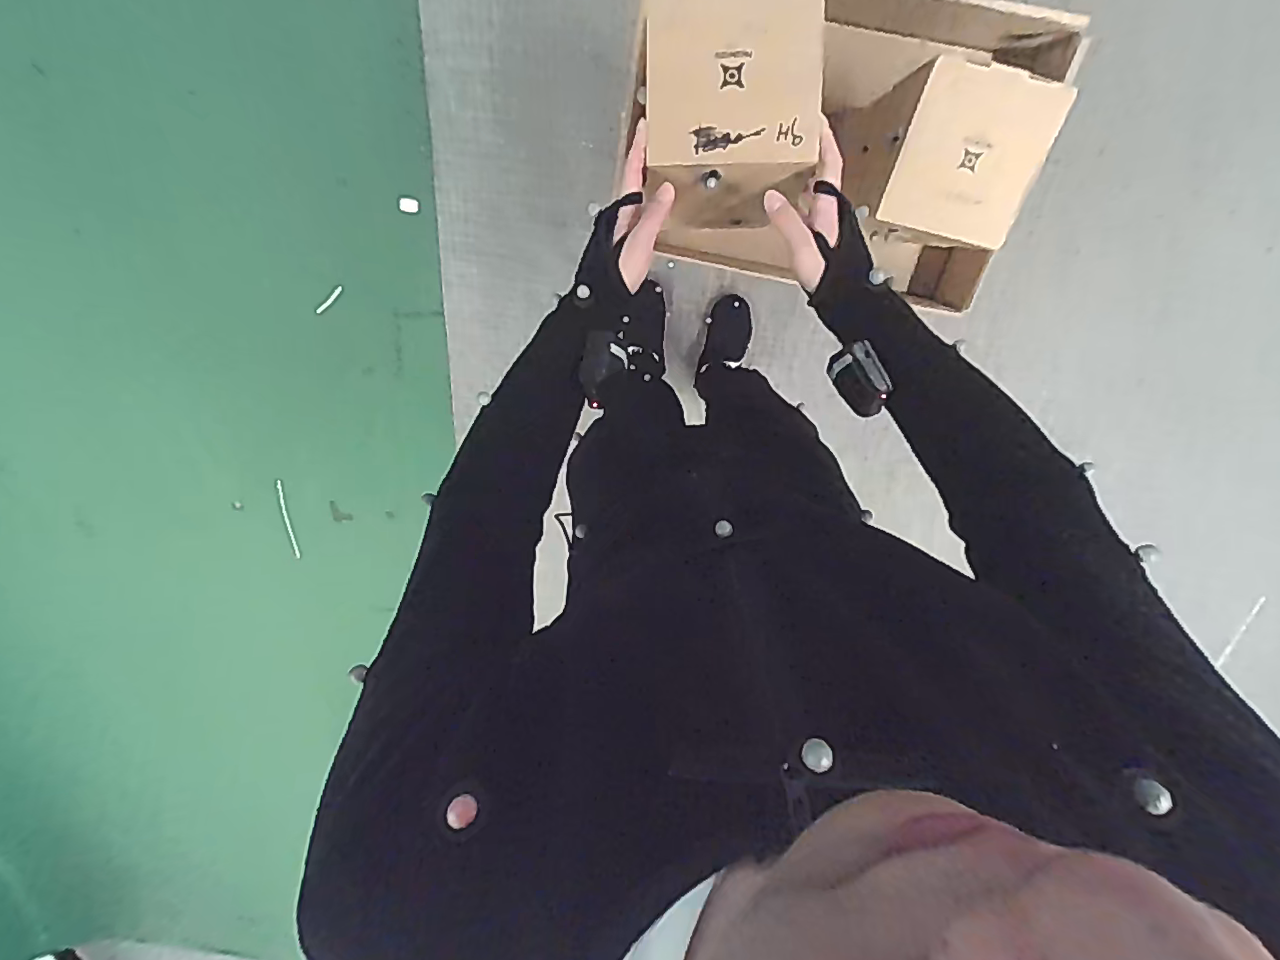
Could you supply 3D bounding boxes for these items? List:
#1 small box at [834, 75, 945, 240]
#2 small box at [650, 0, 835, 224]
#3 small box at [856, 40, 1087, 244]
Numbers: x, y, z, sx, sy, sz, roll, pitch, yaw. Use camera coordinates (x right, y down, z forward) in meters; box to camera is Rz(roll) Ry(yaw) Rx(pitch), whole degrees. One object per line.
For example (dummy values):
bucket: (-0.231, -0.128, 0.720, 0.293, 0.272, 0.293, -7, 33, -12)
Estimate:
small box: (0.426, -0.492, 0.849, 0.168, 0.176, 0.179, 16, 117, -1)
small box: (0.096, -0.394, 0.570, 0.168, 0.176, 0.179, 1, 96, 3)
small box: (0.405, -0.422, 0.704, 0.168, 0.176, 0.179, 15, 116, -1)
